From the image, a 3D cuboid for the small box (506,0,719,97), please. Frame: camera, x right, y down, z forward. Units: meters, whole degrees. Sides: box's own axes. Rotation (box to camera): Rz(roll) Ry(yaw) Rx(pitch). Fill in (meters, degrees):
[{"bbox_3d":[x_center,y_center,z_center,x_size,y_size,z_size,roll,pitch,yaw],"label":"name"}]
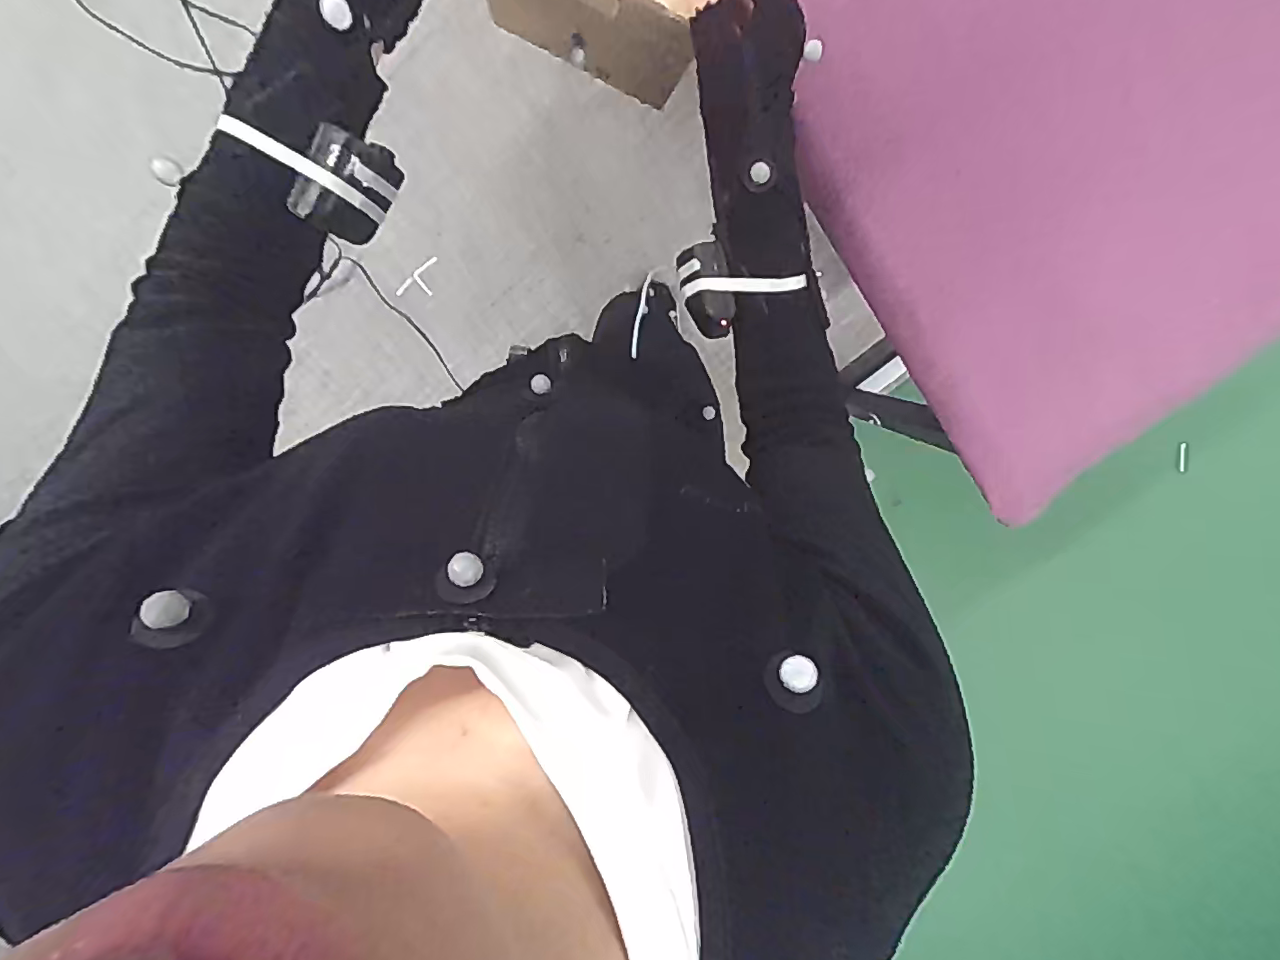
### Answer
[{"bbox_3d":[-0.007,-0.432,0.395,0.168,0.176,0.179,19,106,-14],"label":"small box"}]
